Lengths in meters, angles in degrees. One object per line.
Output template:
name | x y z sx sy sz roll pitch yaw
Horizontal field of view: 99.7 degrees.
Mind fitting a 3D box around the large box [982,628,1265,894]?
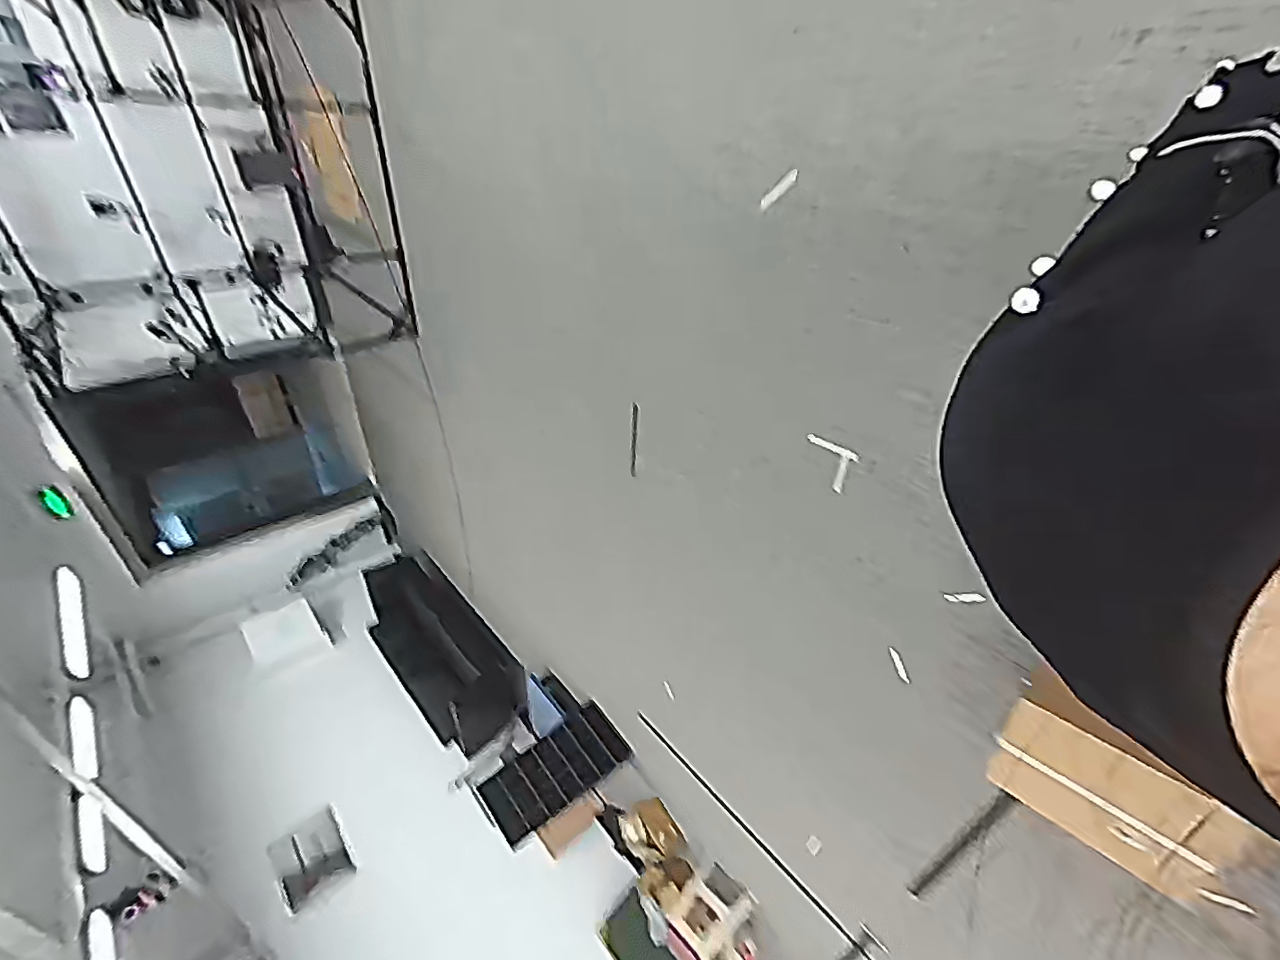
large box | 1.126 0.634 1.291 0.408 0.320 0.320 28 130 40
